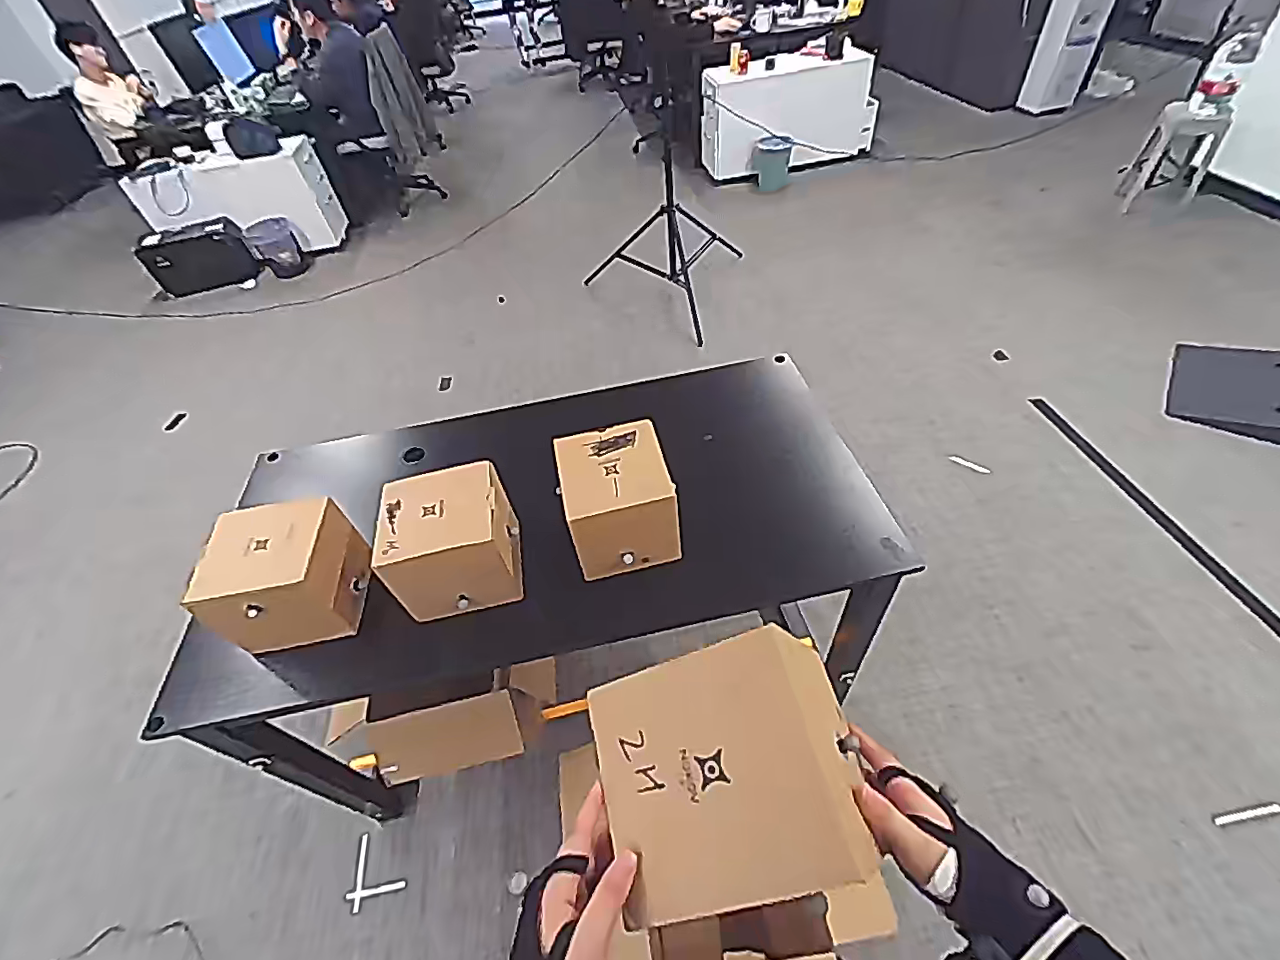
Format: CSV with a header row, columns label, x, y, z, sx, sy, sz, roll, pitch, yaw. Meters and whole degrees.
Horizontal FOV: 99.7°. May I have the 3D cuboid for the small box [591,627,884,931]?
label,x,y,z,sx,sy,sz,roll,pitch,yaw
small box,0.086,0.240,0.452,0.179,0.176,0.168,-26,55,17

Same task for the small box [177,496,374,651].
label,x,y,z,sx,sy,sz,roll,pitch,yaw
small box,-0.556,0.152,0.855,0.179,0.176,0.168,-10,48,-2

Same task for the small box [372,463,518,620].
label,x,y,z,sx,sy,sz,roll,pitch,yaw
small box,-0.298,0.100,0.868,0.179,0.176,0.168,-12,47,-5

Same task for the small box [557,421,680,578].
label,x,y,z,sx,sy,sz,roll,pitch,yaw
small box,-0.035,0.033,0.893,0.168,0.176,0.179,-13,48,-4
